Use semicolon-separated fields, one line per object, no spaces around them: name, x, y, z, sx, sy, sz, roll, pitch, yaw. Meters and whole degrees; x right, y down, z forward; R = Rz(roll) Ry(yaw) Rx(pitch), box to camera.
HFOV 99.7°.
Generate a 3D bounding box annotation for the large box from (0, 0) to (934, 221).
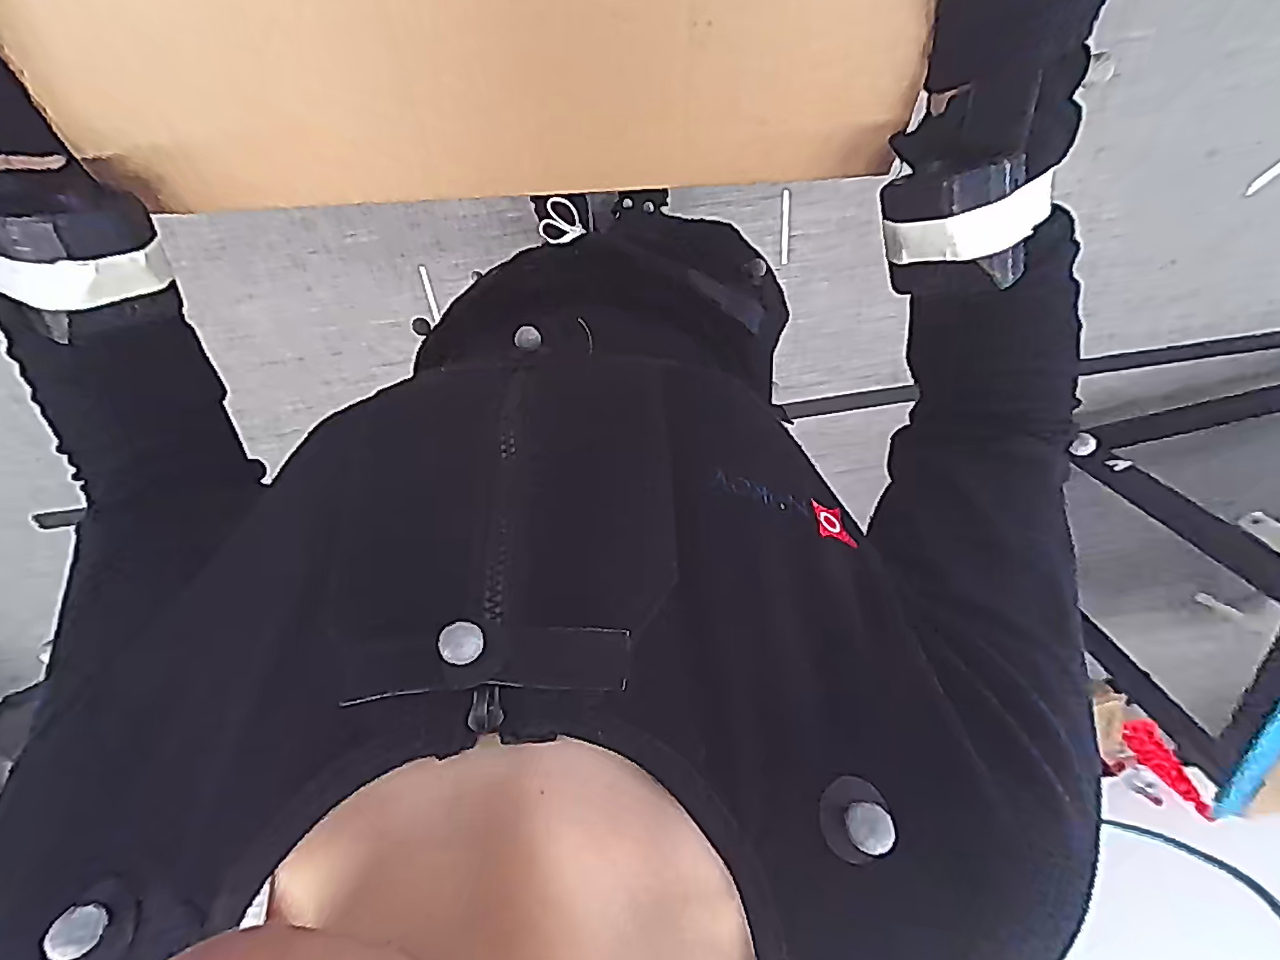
large box;-0.077;-0.366;0.253;0.408;0.320;0.320;-4;147;-2
